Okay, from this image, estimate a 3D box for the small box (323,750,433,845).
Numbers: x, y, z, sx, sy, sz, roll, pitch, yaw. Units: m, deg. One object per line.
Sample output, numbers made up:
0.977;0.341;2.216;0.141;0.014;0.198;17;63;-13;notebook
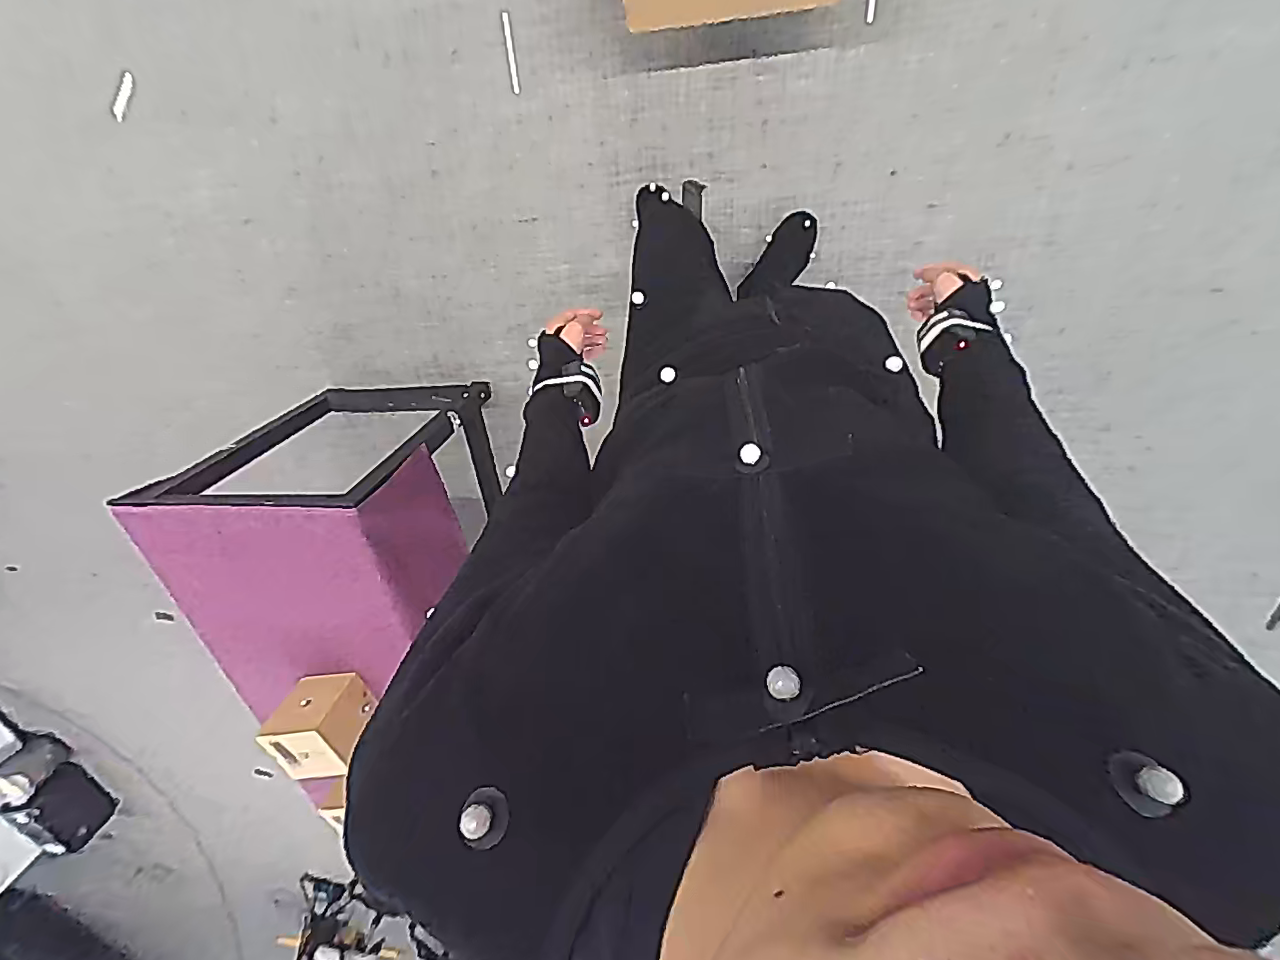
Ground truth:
-0.712;0.871;1.489;0.179;0.176;0.168;-13;118;16;small box
